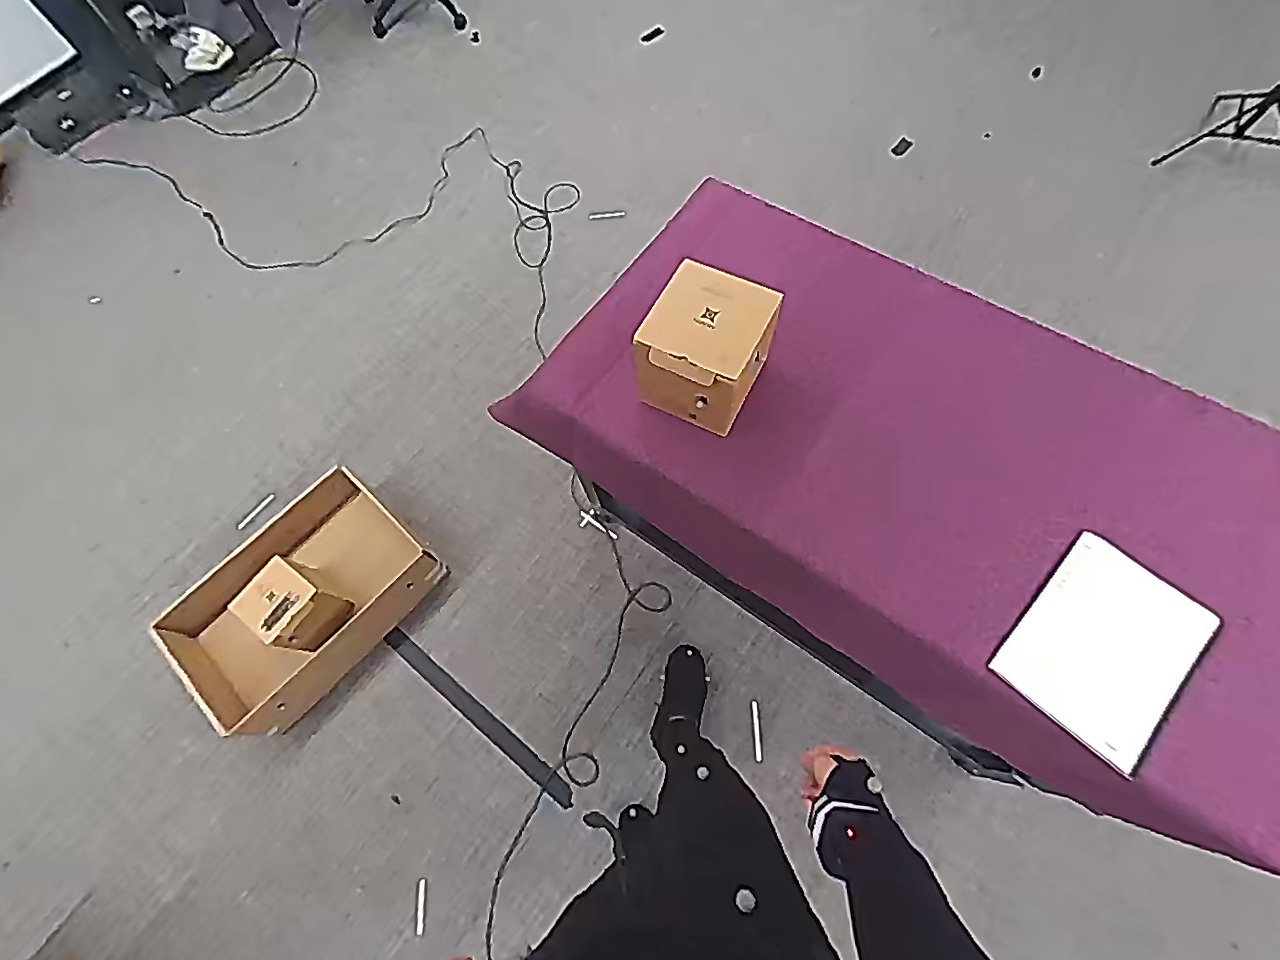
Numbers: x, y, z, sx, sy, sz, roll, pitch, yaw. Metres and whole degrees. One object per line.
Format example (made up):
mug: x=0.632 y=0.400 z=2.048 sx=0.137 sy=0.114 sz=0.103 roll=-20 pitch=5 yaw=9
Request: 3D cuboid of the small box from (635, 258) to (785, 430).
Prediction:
small box: x=0.109 y=-0.207 z=0.862 sx=0.168 sy=0.176 sz=0.179 roll=26 pitch=71 yaw=13
